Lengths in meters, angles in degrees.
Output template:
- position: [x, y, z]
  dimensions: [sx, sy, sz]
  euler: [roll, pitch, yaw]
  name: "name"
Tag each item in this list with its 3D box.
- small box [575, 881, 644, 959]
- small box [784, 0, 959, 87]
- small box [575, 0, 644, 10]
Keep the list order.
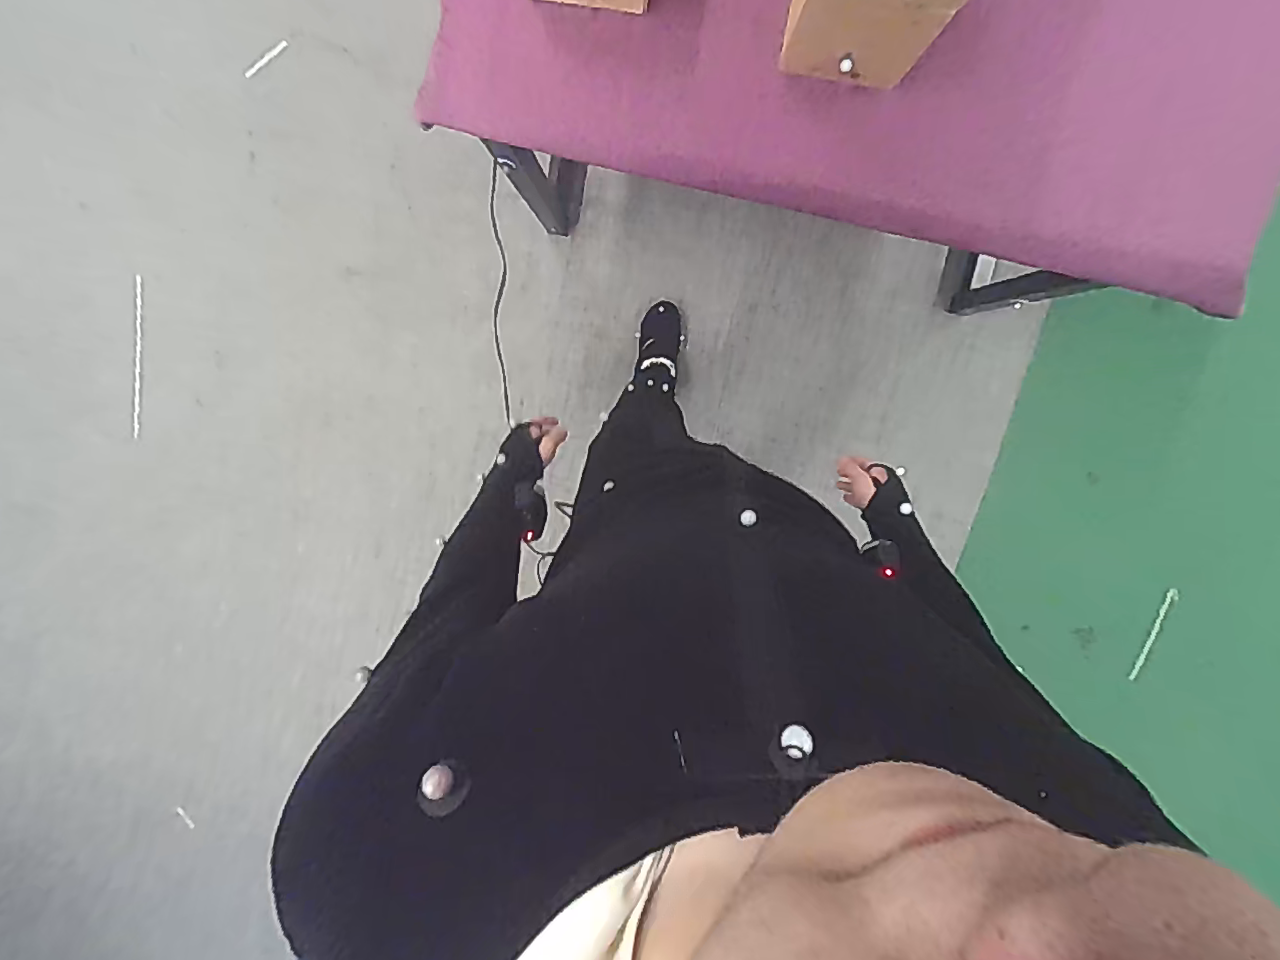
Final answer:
- position: [-0.085, 1.303, 1.542]
  dimensions: [0.168, 0.176, 0.179]
  euler: [14, 102, -2]
  name: "small box"
- position: [0.286, -0.629, 0.657]
  dimensions: [0.168, 0.176, 0.179]
  euler: [10, 101, 0]
  name: "small box"
- position: [-0.064, -0.728, 0.649]
  dimensions: [0.168, 0.176, 0.179]
  euler: [7, 101, 0]
  name: "small box"
